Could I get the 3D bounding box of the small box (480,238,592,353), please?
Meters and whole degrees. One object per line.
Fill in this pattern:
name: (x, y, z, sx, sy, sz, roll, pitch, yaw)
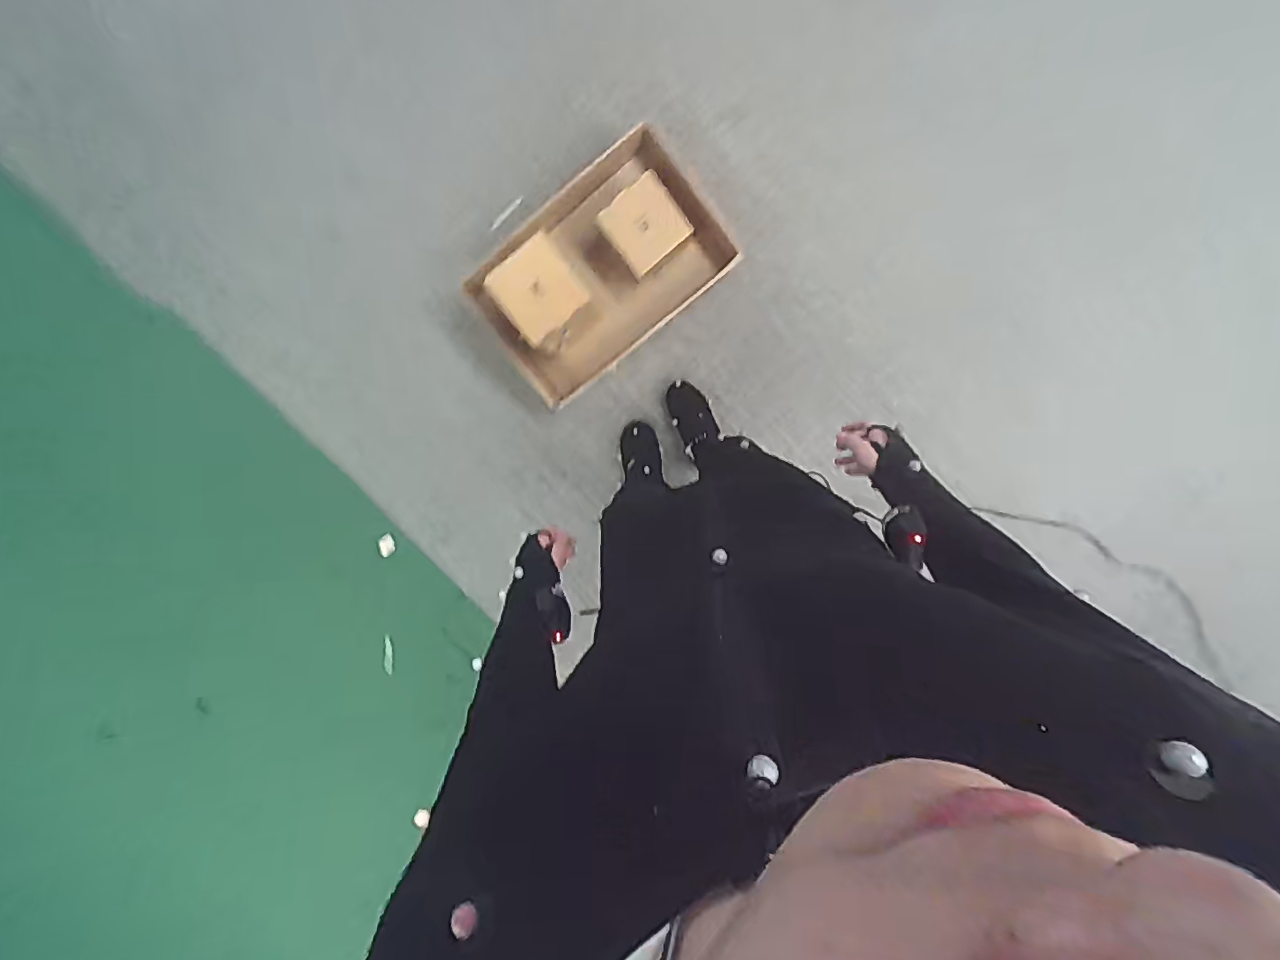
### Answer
small box: (-0.228, -0.407, 1.231, 0.168, 0.176, 0.179, -38, 98, 6)
